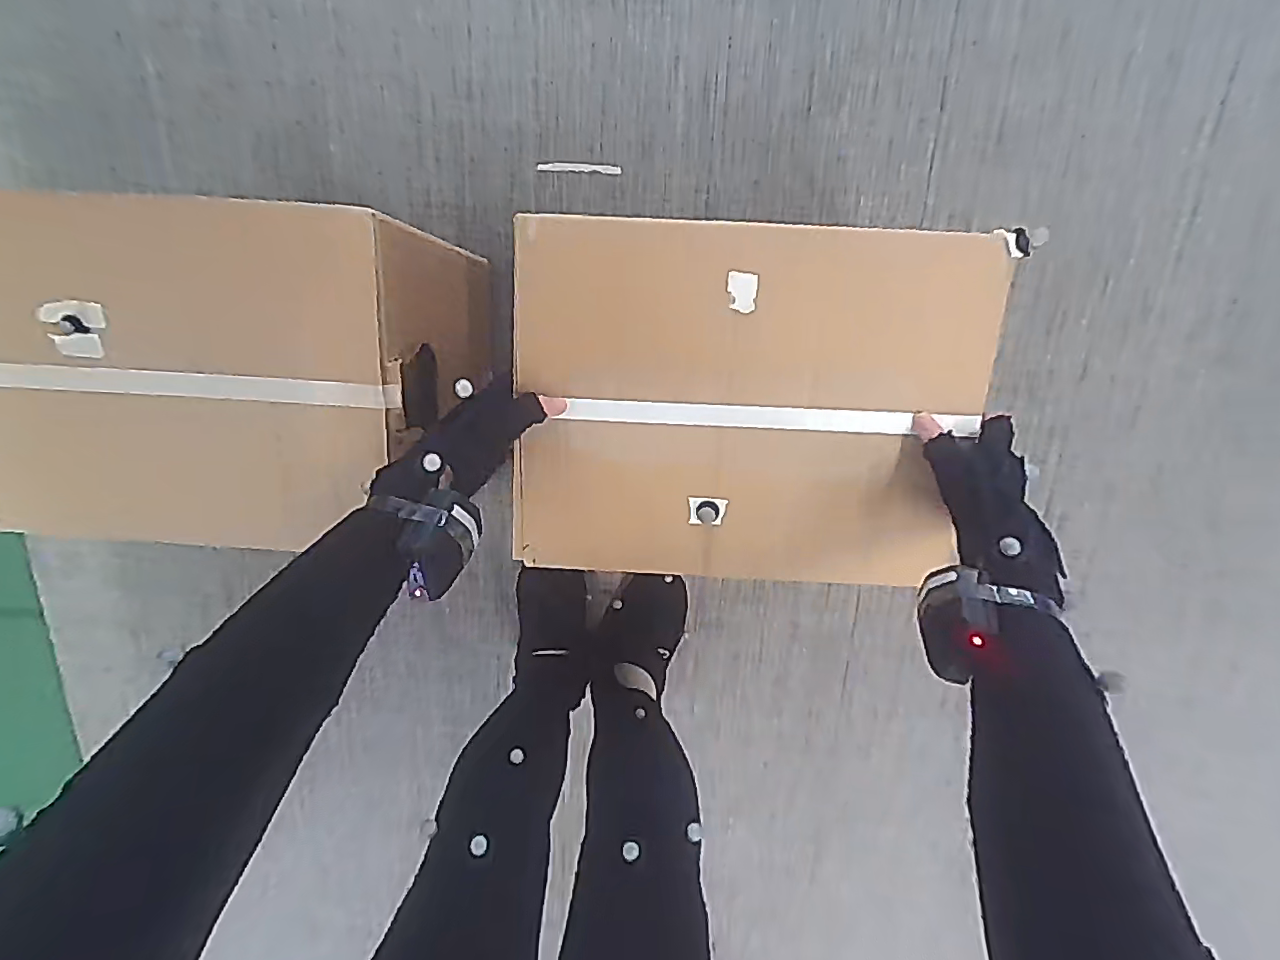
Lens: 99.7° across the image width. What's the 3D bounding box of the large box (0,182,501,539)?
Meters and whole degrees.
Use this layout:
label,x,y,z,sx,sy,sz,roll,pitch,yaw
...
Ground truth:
label,x,y,z,sx,sy,sz,roll,pitch,yaw
large box,-0.407,-0.142,0.641,0.408,0.320,0.320,4,106,2
